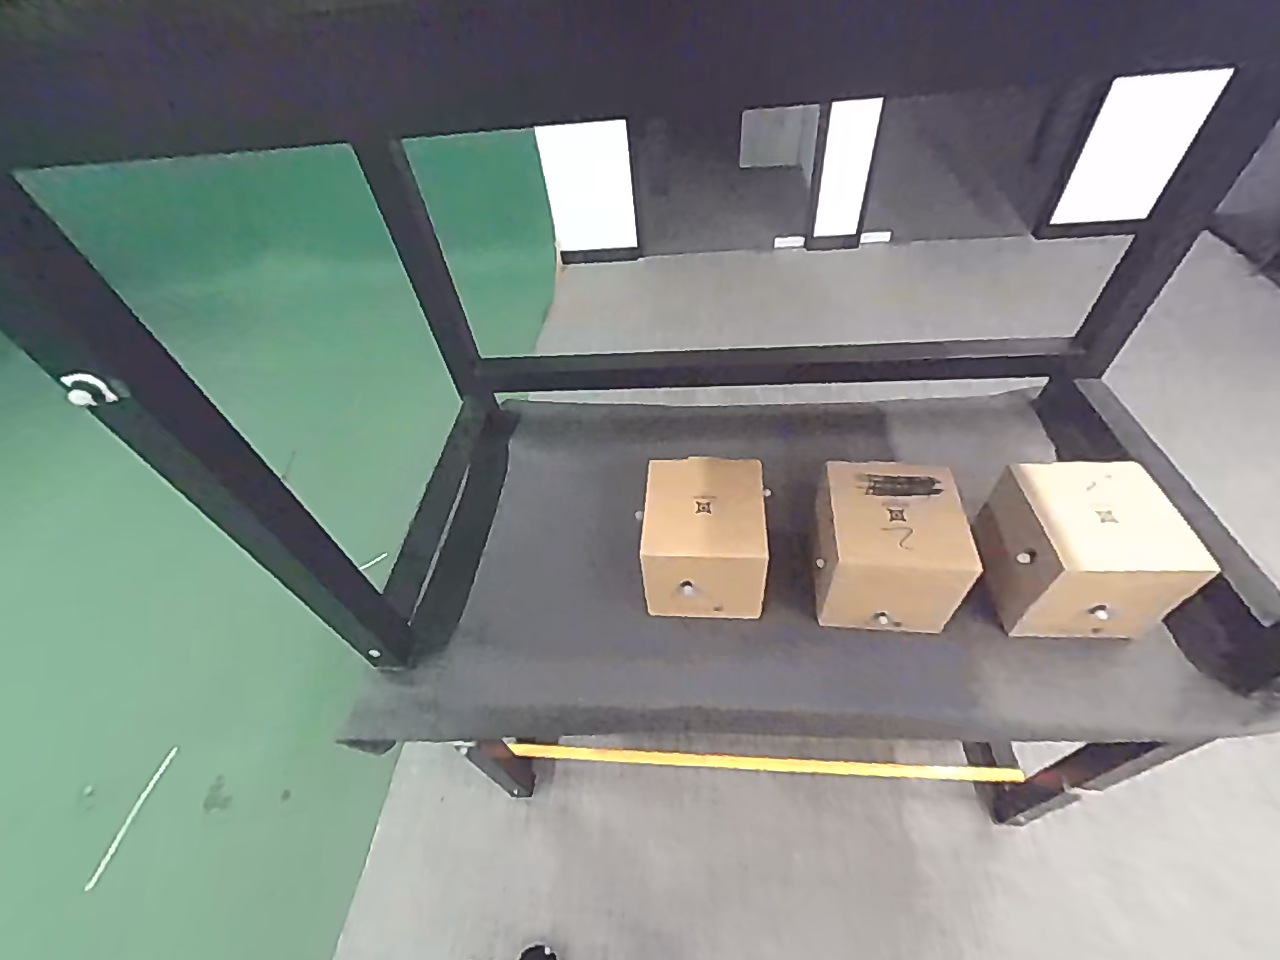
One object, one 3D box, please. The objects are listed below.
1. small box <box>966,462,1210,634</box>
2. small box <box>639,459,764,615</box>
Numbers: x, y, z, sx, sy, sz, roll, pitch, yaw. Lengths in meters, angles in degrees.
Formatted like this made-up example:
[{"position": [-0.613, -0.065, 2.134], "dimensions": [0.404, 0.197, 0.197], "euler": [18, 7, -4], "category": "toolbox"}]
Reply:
[{"position": [0.583, 0.096, 0.738], "dimensions": [0.168, 0.176, 0.179], "euler": [-1, 47, 6], "category": "small box"}, {"position": [0.095, 0.088, 0.809], "dimensions": [0.168, 0.176, 0.179], "euler": [0, 48, 7], "category": "small box"}]
